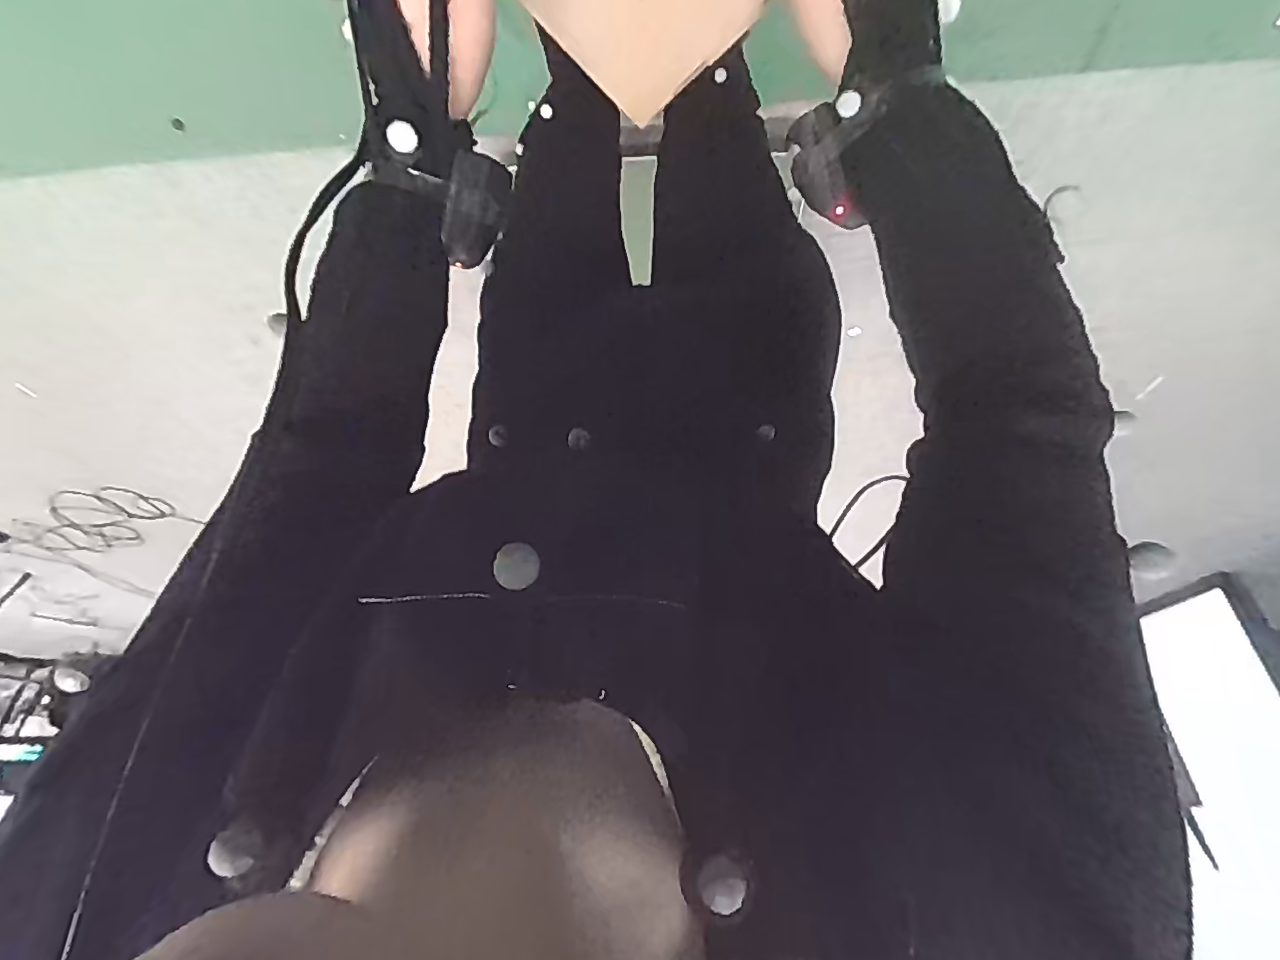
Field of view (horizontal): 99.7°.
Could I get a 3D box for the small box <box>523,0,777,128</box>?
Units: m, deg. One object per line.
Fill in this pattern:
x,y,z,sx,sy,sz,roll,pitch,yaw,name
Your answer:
-0.004,-0.375,0.320,0.168,0.176,0.179,-28,146,33,small box
